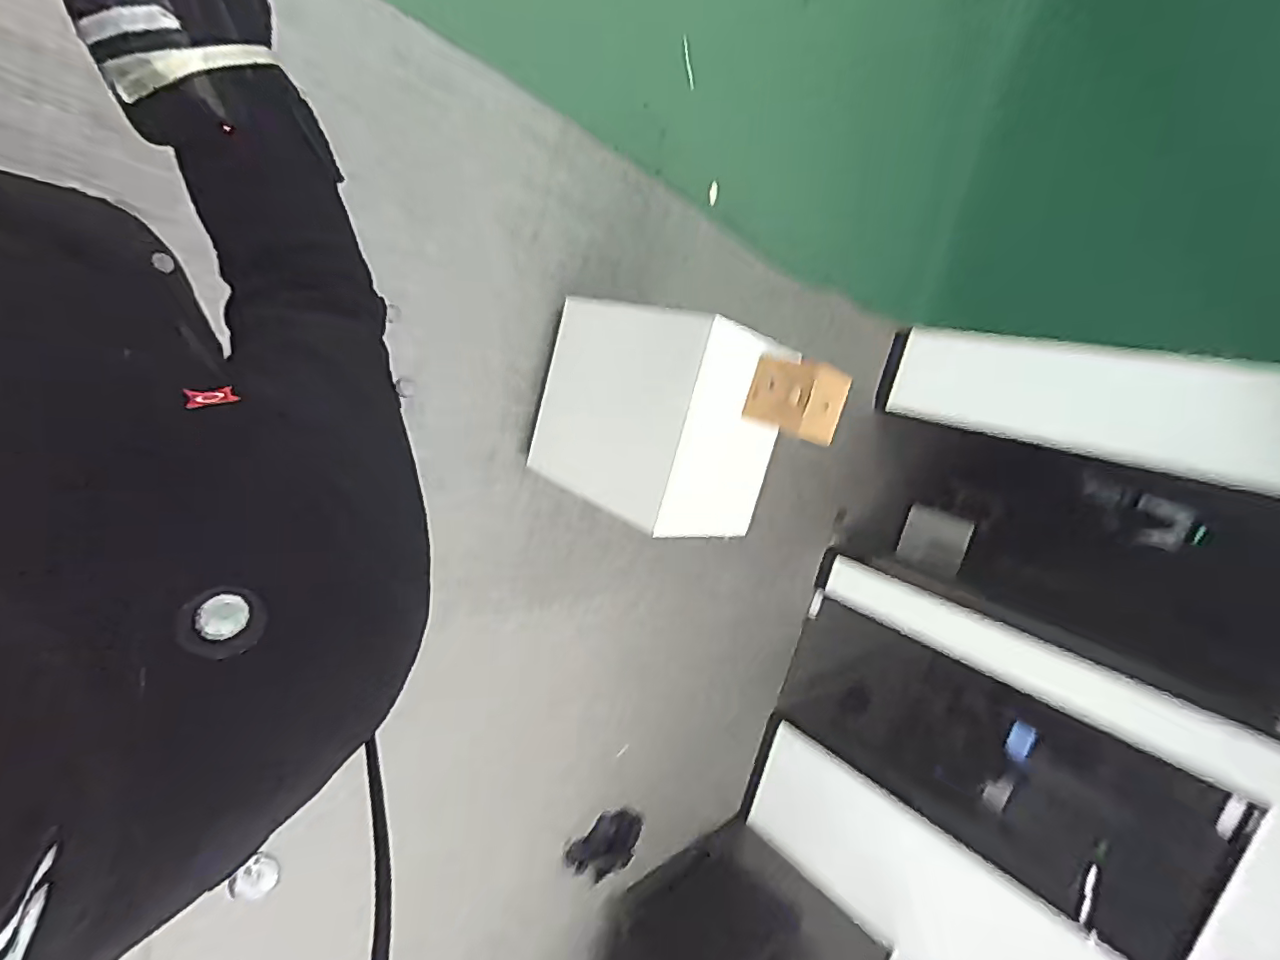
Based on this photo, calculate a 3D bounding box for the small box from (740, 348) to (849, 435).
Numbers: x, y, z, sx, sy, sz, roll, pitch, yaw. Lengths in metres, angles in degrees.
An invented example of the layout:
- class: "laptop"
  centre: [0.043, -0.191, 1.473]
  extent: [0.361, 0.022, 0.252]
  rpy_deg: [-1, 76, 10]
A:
- class: "small box"
  centre: [0.381, -0.221, 1.343]
  extent: [0.179, 0.176, 0.168]
  rpy_deg: [5, 105, -46]
